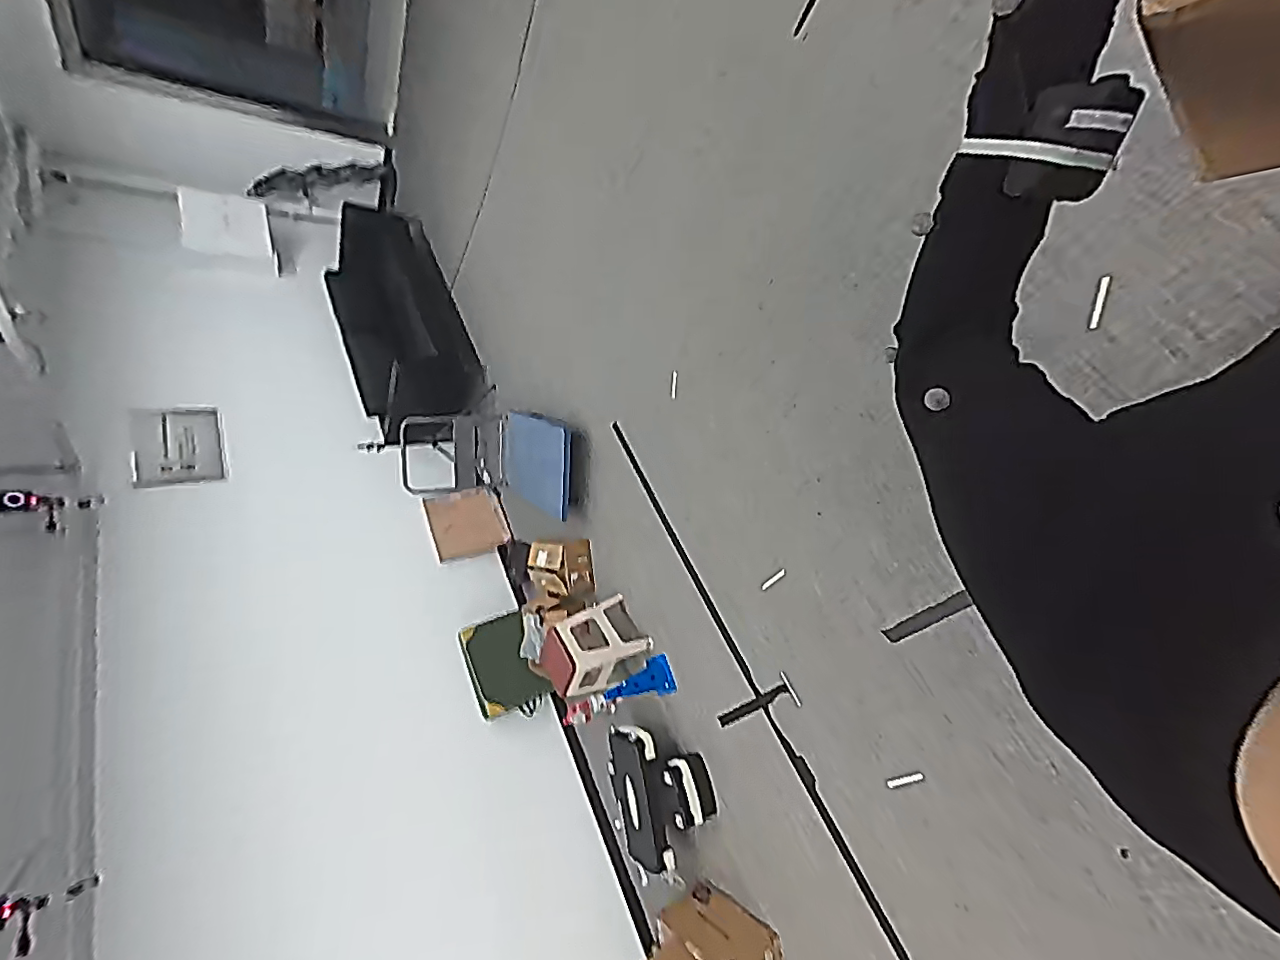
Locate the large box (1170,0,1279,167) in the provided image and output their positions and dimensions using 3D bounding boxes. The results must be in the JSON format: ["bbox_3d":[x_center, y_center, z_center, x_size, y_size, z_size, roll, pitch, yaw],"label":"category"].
[{"bbox_3d":[0.531,-0.397,0.225,0.408,0.320,0.320,12,102,49],"label":"large box"}]
